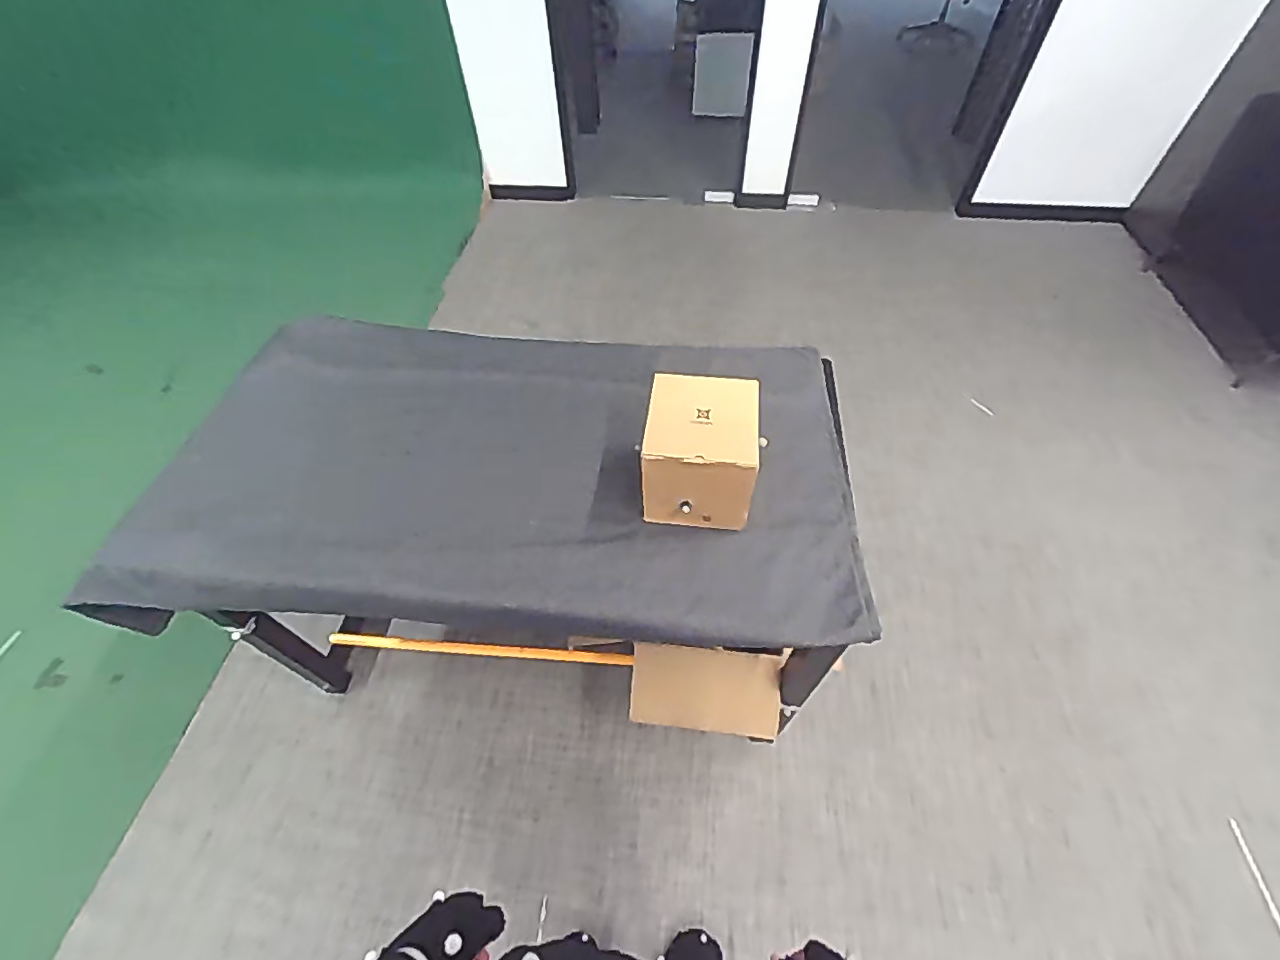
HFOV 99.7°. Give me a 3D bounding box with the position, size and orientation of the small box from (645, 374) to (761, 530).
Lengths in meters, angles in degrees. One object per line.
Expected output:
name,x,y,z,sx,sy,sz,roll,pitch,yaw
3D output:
small box,0.097,-0.044,0.864,0.168,0.176,0.179,5,53,5
